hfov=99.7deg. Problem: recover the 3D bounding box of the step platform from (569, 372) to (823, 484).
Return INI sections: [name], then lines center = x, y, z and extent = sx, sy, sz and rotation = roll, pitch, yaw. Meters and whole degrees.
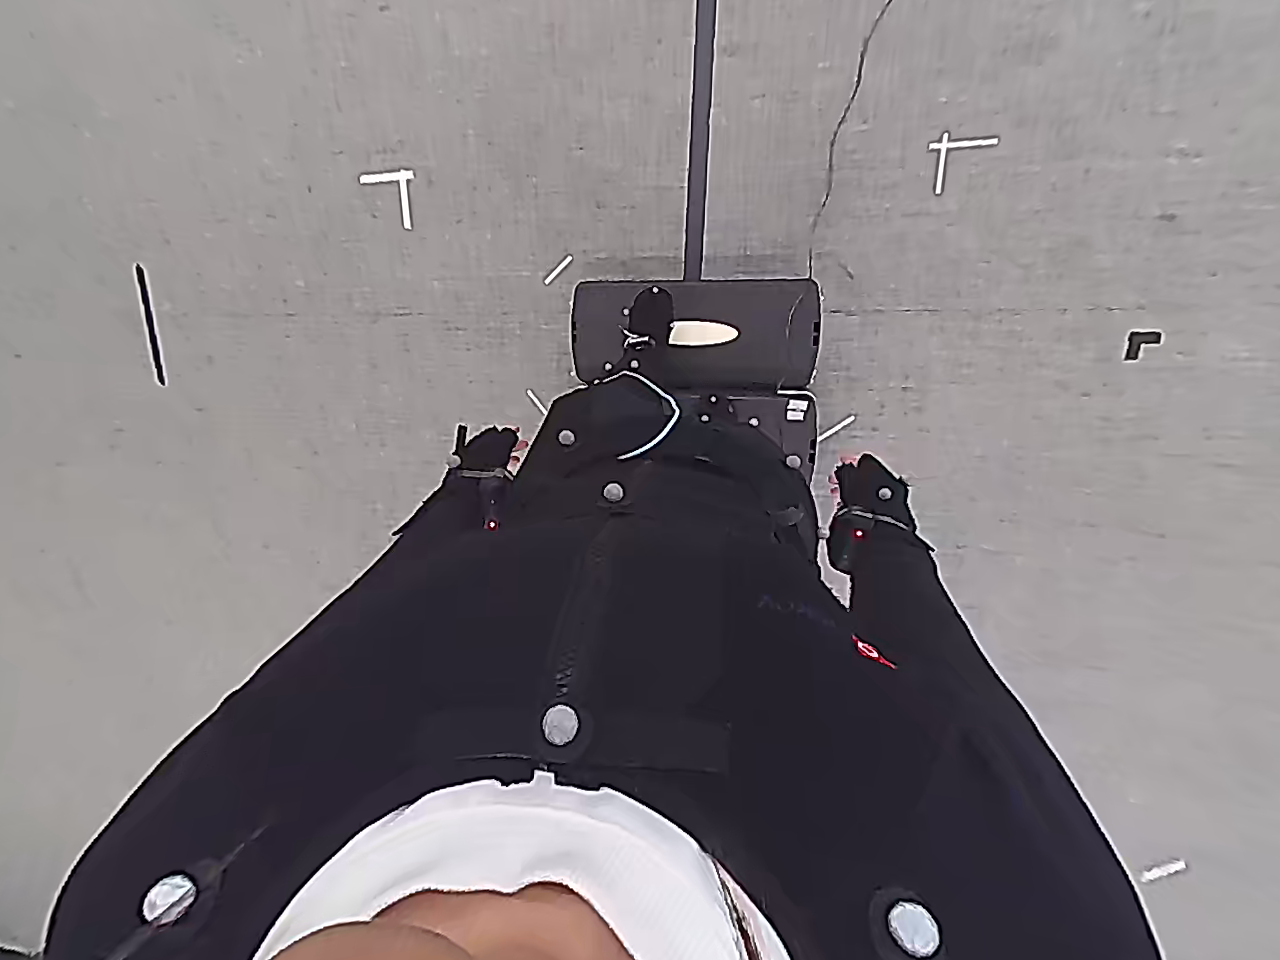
[step platform]
center = 0.147, -0.150, 1.493
extent = 0.684, 0.204, 0.286
rotation = 2, 103, 11
